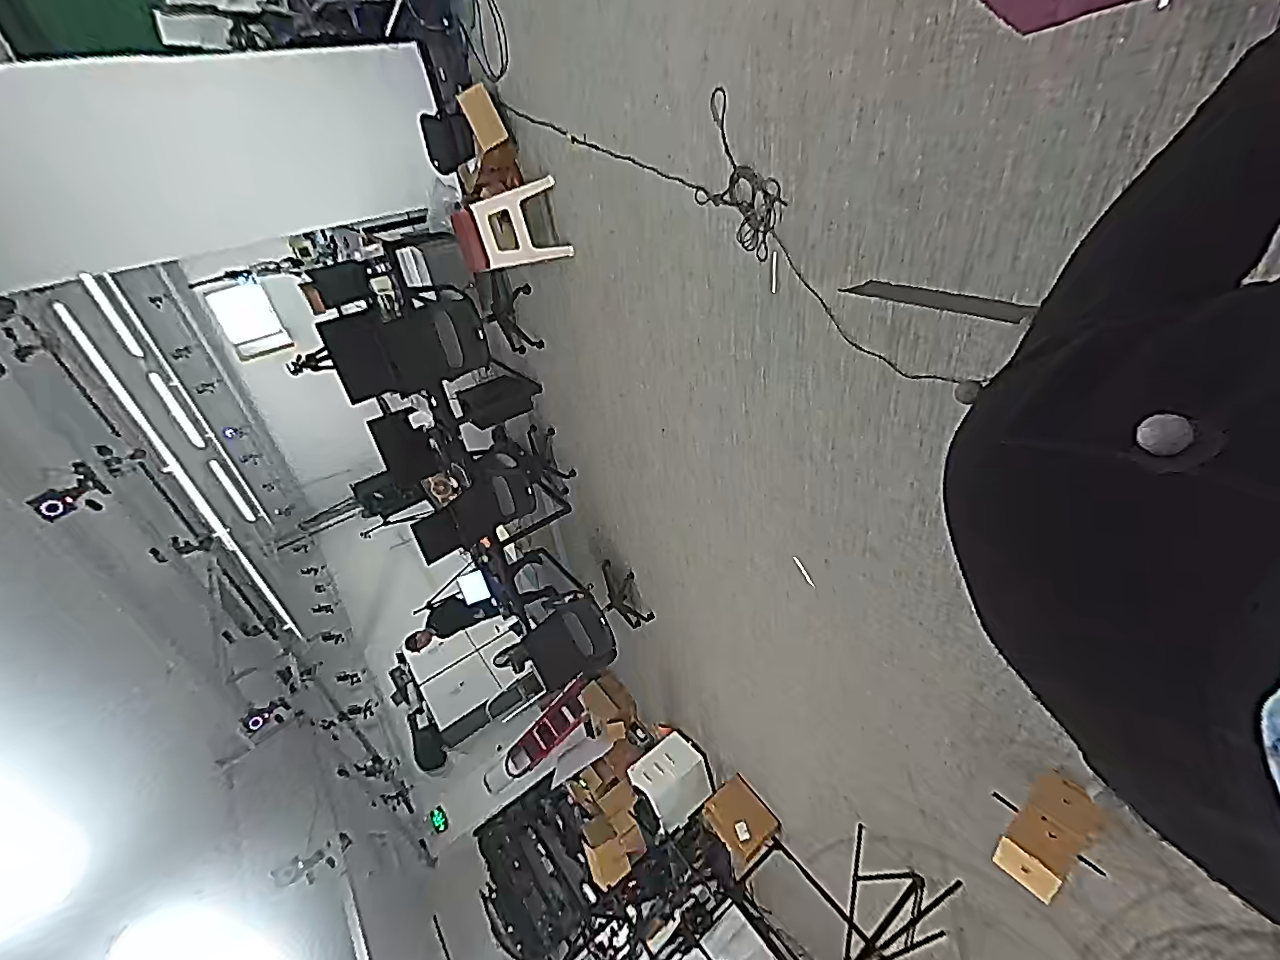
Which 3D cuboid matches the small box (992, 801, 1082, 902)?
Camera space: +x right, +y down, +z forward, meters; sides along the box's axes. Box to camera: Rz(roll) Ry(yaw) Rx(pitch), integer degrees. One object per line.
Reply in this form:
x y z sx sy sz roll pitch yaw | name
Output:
1.272 1.185 1.733 0.168 0.176 0.179 31 140 46 | small box

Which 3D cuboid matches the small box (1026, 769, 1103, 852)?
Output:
1.400 1.114 1.804 0.168 0.176 0.179 30 141 47 | small box
